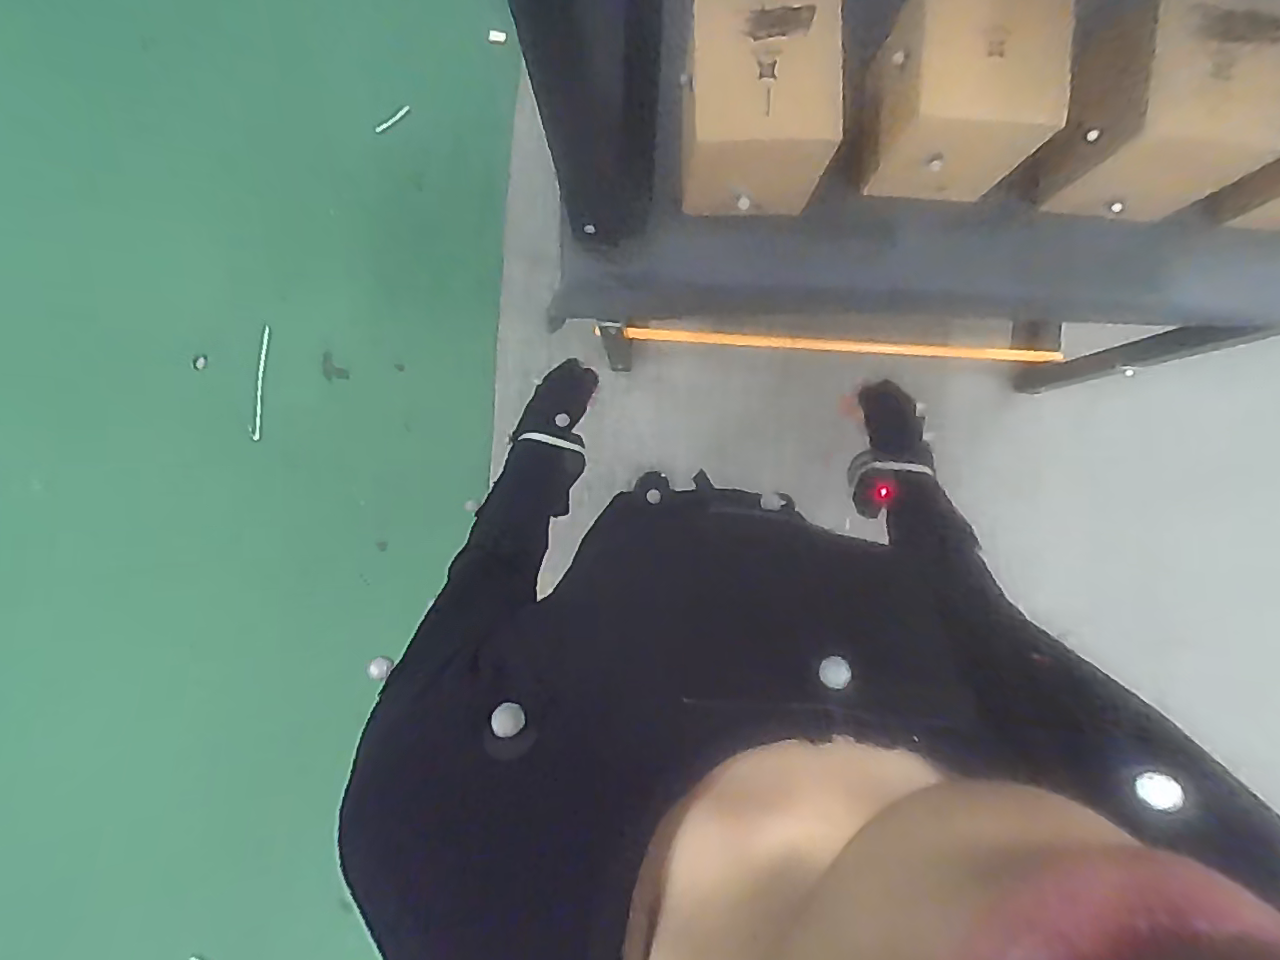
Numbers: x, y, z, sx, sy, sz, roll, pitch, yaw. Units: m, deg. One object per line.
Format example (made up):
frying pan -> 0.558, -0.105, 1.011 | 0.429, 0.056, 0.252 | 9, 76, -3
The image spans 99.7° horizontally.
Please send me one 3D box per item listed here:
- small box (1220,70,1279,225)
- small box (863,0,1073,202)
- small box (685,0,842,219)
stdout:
small box -> 0.889, -0.434, 0.673 | 0.168, 0.176, 0.179 | 3, 88, 1
small box -> 0.398, -0.481, 0.685 | 0.168, 0.176, 0.179 | 4, 88, 0
small box -> 0.145, -0.460, 0.686 | 0.168, 0.176, 0.179 | 0, 89, 1
